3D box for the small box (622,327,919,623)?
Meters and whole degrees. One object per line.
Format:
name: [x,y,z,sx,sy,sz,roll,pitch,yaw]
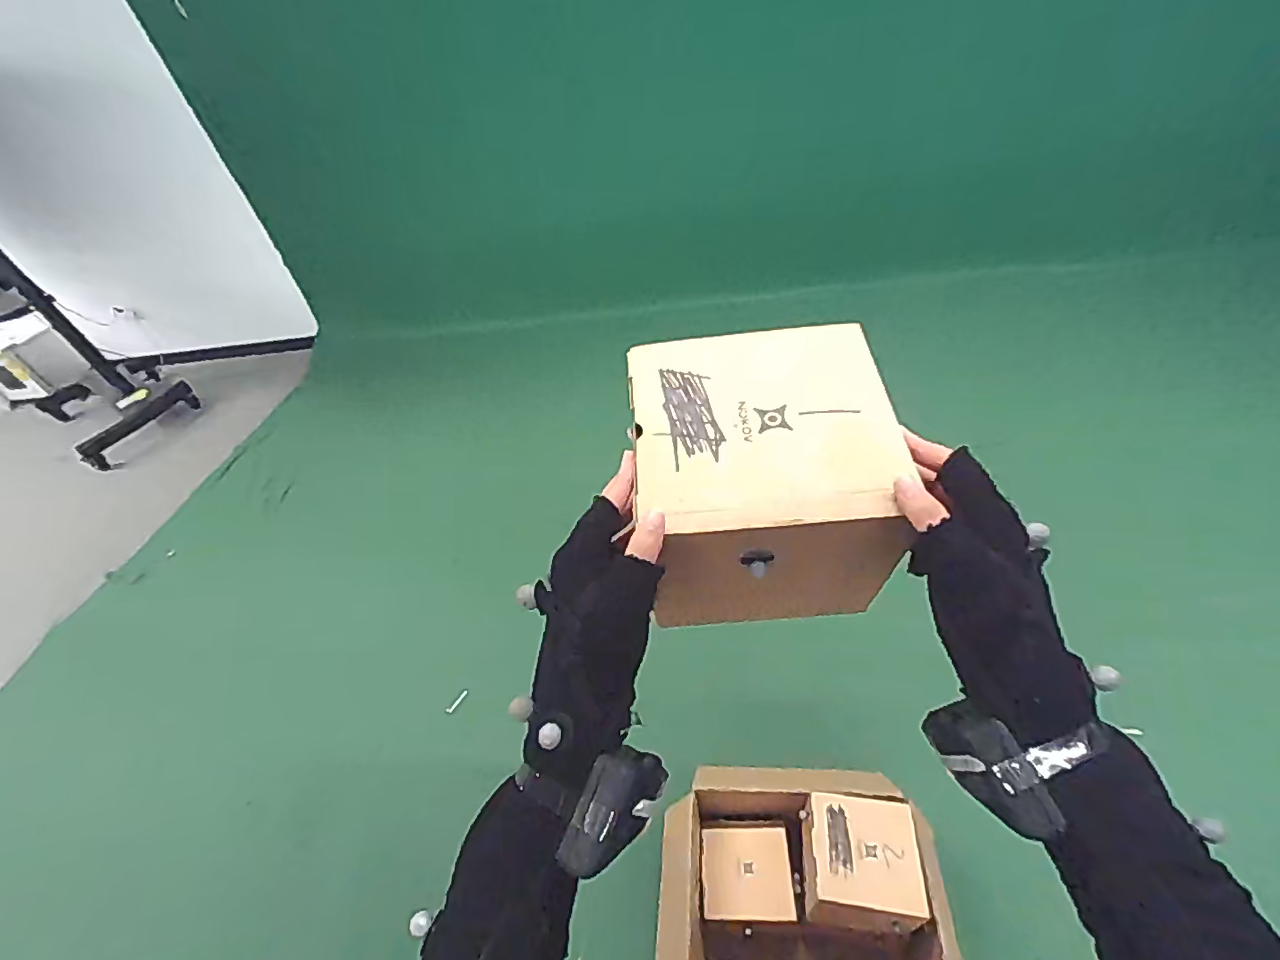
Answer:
small box: [0.084,0.006,0.428,0.179,0.176,0.168,-5,57,4]
